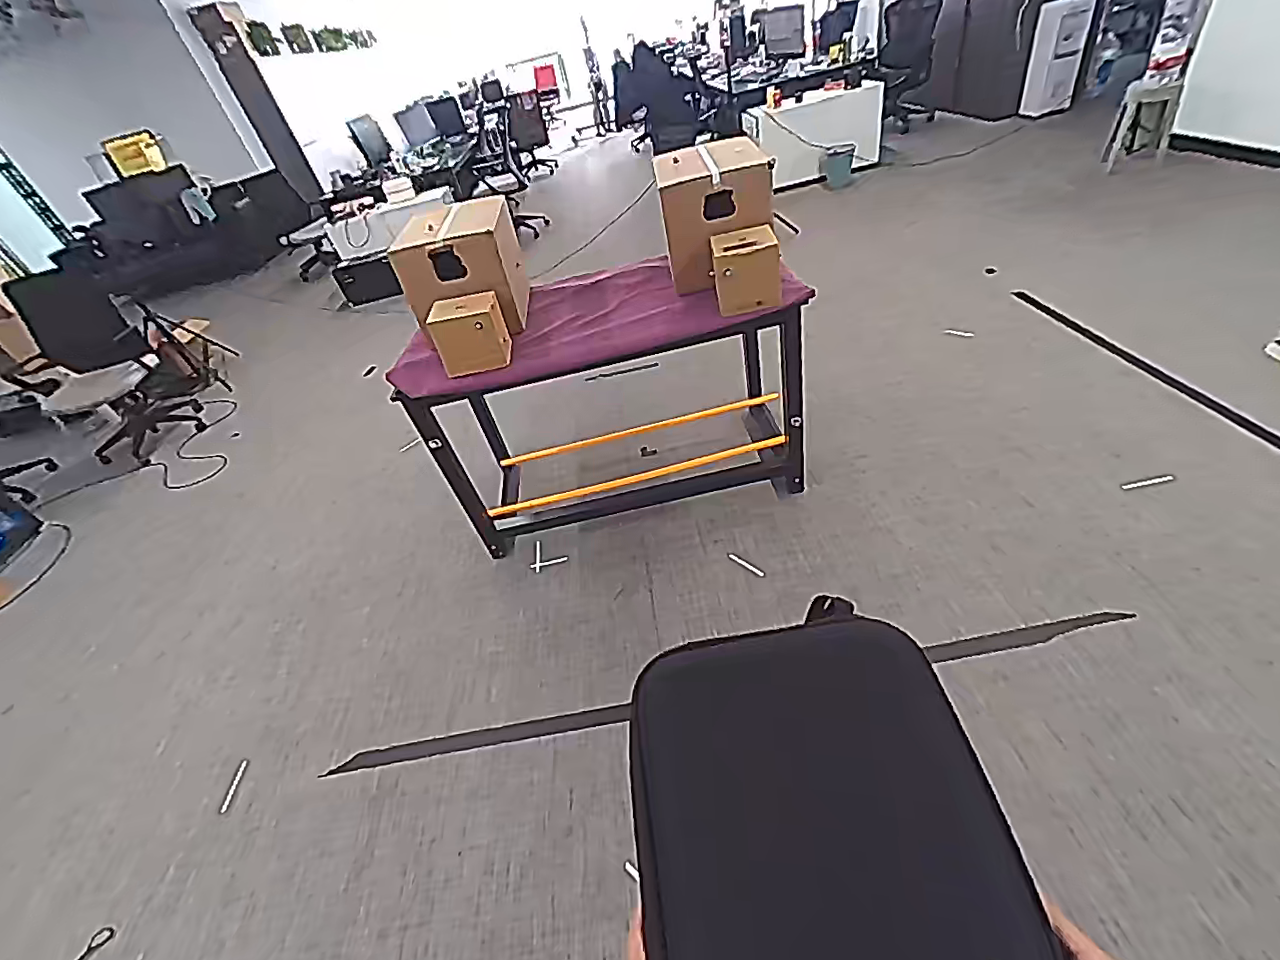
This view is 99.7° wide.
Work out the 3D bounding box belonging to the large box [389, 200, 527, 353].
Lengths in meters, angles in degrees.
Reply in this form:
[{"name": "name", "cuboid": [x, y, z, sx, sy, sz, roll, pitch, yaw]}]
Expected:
[{"name": "large box", "cuboid": [-0.563, -0.669, 1.763, 0.320, 0.320, 0.408, -12, 43, 2]}]
